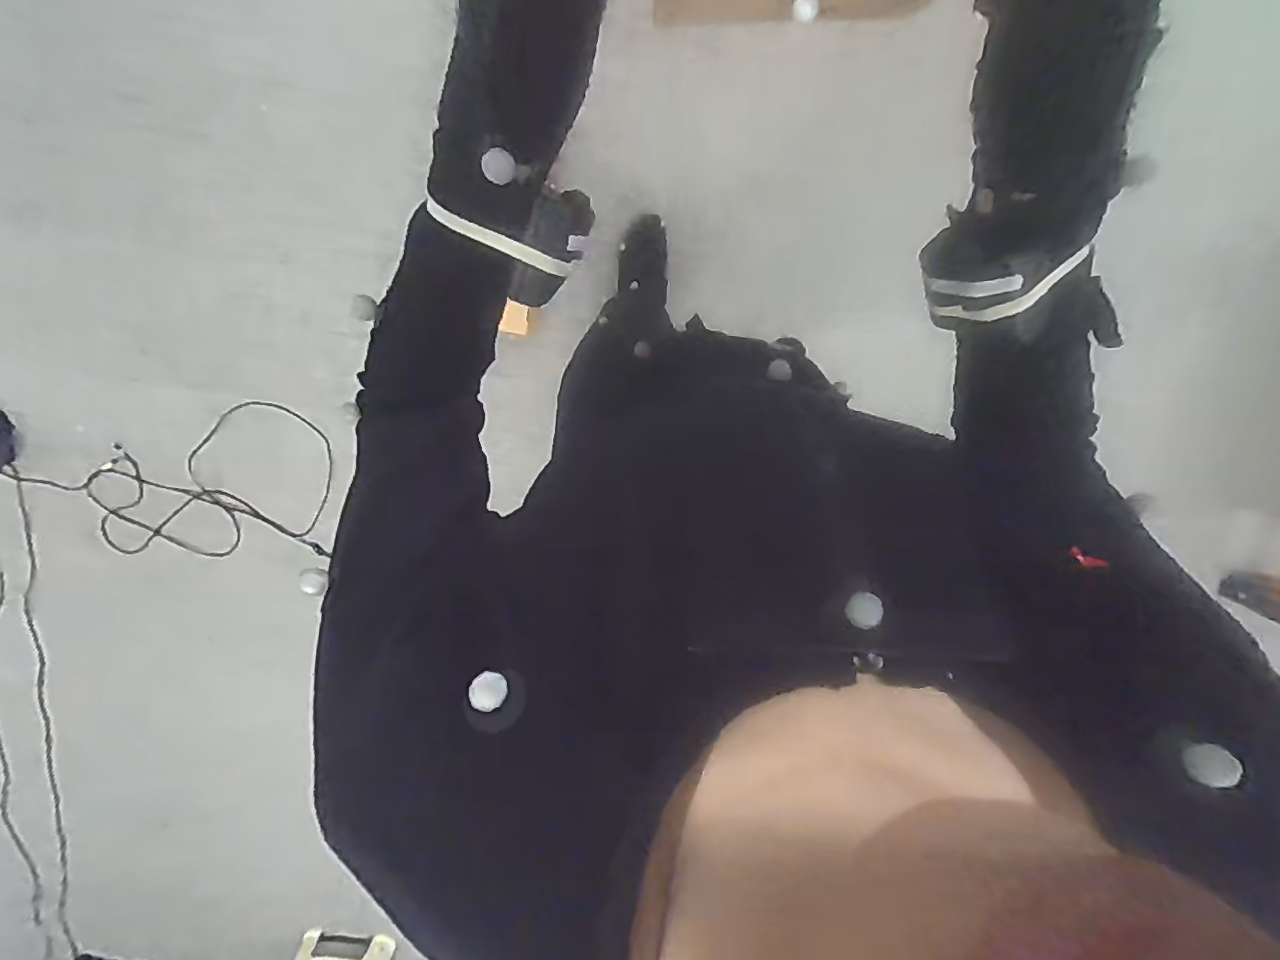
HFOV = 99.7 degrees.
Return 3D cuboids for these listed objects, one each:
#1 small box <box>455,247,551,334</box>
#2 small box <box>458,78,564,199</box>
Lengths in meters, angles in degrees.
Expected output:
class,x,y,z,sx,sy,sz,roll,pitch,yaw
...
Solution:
class,x,y,z,sx,sy,sz,roll,pitch,yaw
small box,-0.322,-0.447,1.293,0.179,0.176,0.168,9,107,0
small box,-0.279,-0.746,1.203,0.179,0.176,0.168,15,106,-1
